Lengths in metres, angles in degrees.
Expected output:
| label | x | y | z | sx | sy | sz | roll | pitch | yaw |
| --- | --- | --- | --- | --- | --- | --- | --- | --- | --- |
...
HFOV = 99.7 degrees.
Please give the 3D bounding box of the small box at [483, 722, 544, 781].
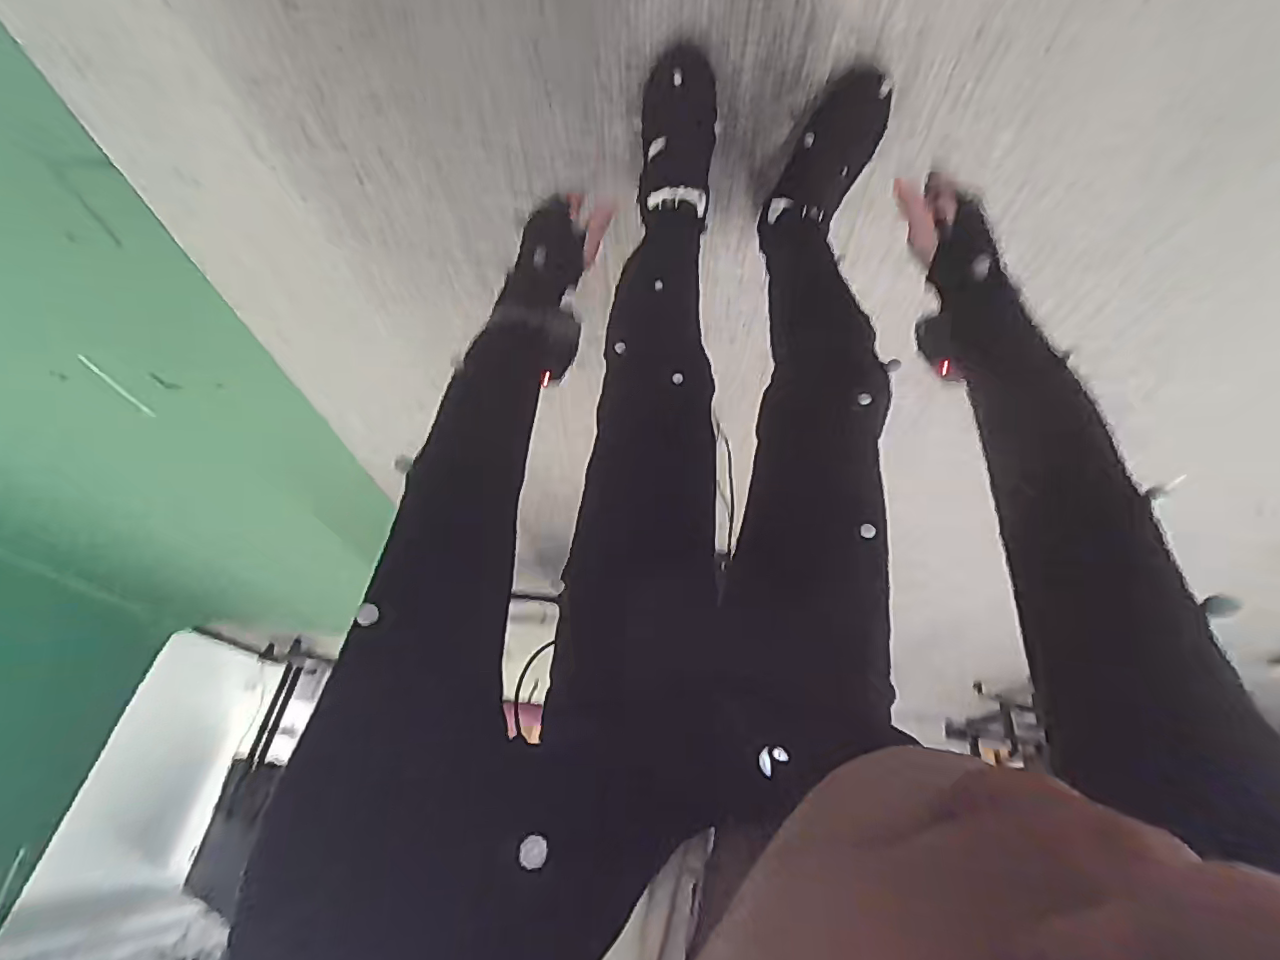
| label | x | y | z | sx | sy | sz | roll | pitch | yaw |
| --- | --- | --- | --- | --- | --- | --- | --- | --- | --- |
| small box | -0.463 | 1.012 | 2.015 | 0.168 | 0.176 | 0.179 | 6 | 149 | 4 |
